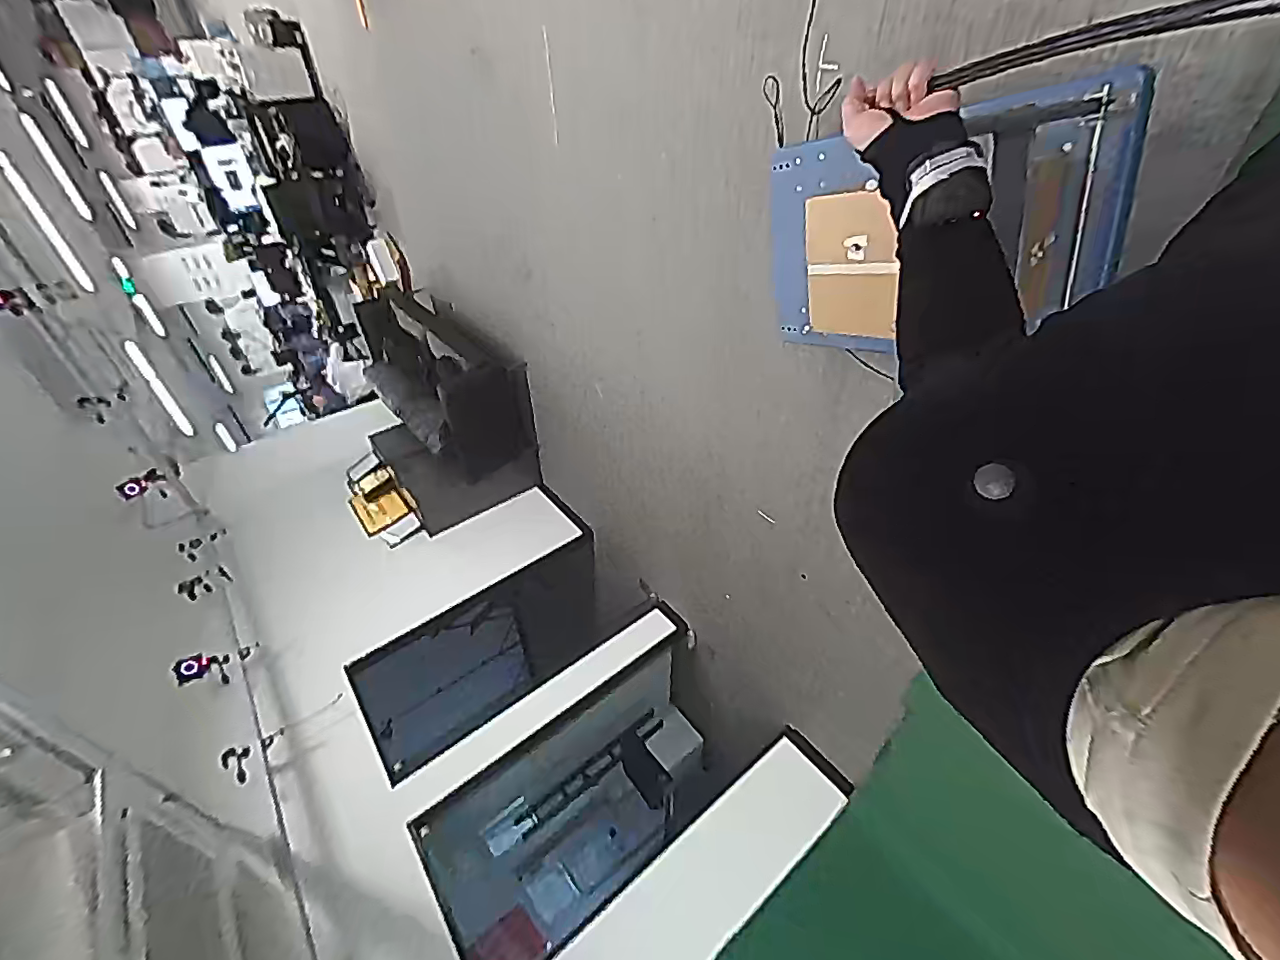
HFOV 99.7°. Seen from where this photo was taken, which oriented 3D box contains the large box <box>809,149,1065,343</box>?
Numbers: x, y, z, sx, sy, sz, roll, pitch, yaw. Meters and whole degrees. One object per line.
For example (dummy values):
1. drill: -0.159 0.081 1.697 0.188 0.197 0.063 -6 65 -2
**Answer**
1. large box: 0.651 -0.520 1.226 0.408 0.320 0.320 26 135 50
